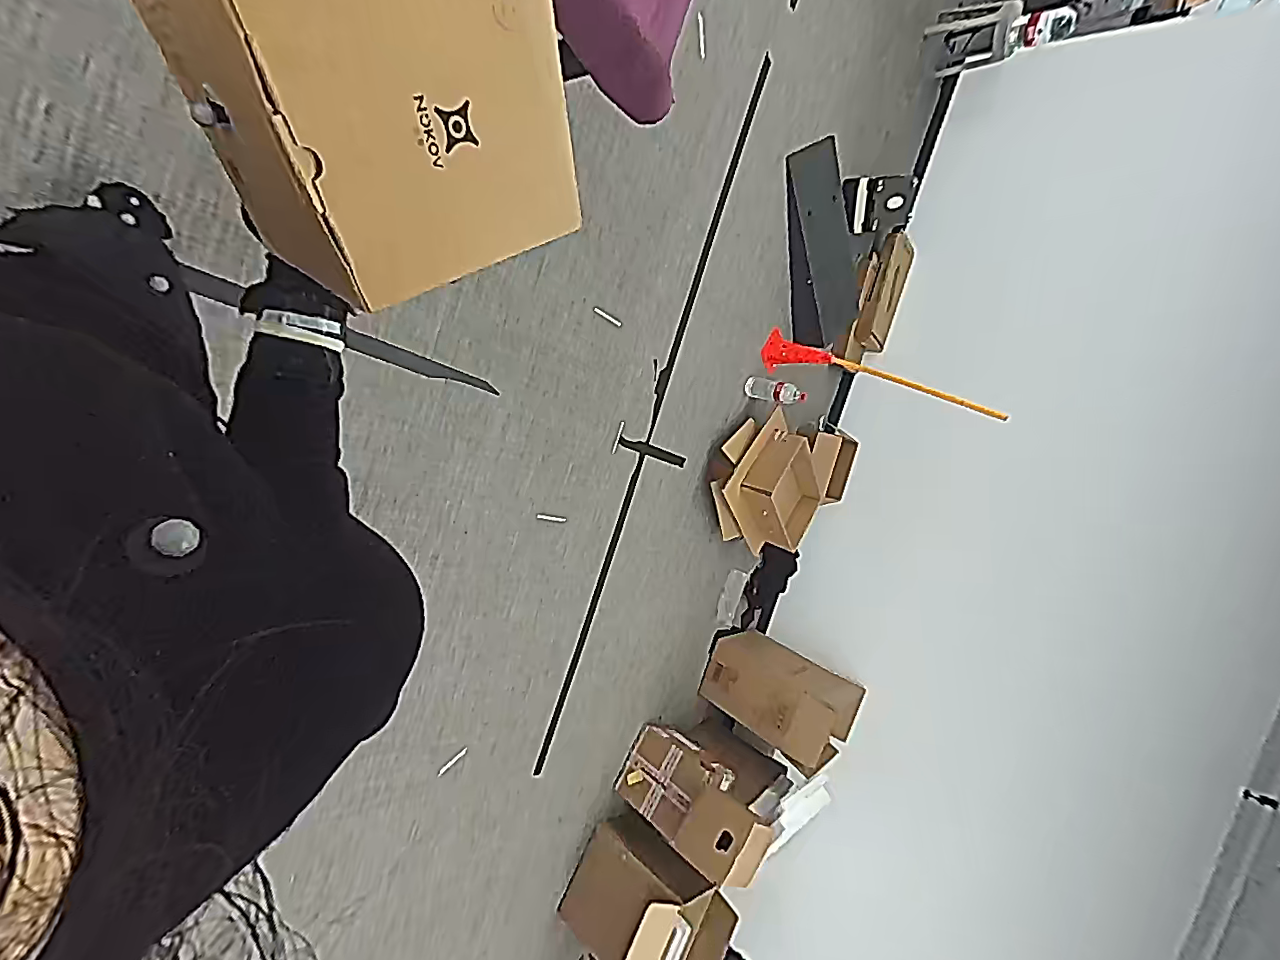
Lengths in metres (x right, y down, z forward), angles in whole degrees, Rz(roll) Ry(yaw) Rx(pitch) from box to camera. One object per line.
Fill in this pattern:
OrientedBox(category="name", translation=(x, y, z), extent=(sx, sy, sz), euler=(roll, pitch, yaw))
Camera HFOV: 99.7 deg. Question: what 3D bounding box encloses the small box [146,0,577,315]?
OrientedBox(category="small box", translation=(-0.169, -0.242, 0.364), extent=(0.179, 0.176, 0.168), euler=(-37, 144, -28))
